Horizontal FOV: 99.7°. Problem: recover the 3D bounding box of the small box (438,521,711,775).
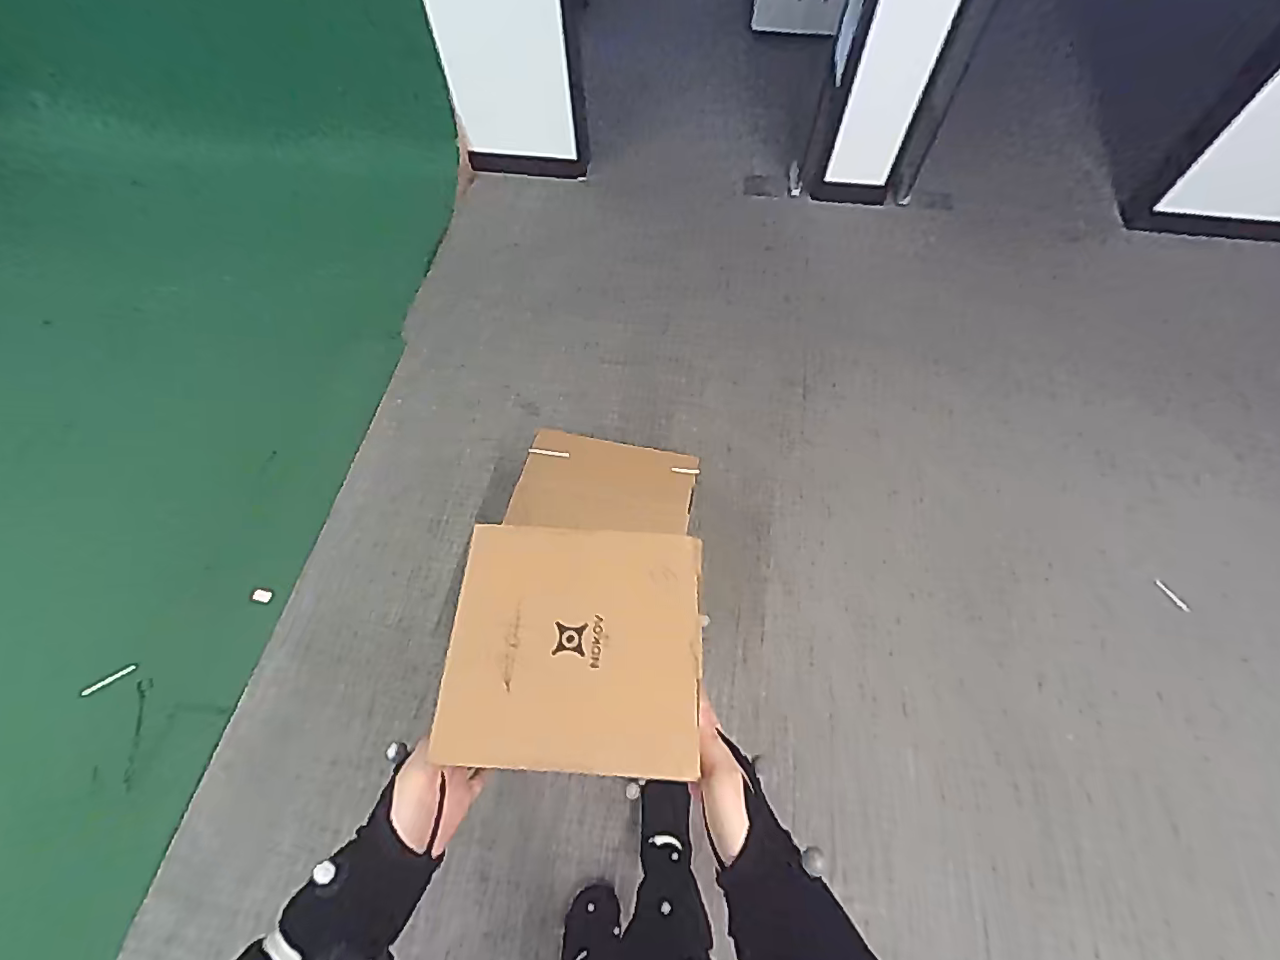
[{"bbox_3d":[-0.039,0.147,0.451,0.179,0.176,0.168,3,61,1],"label":"small box"}]
